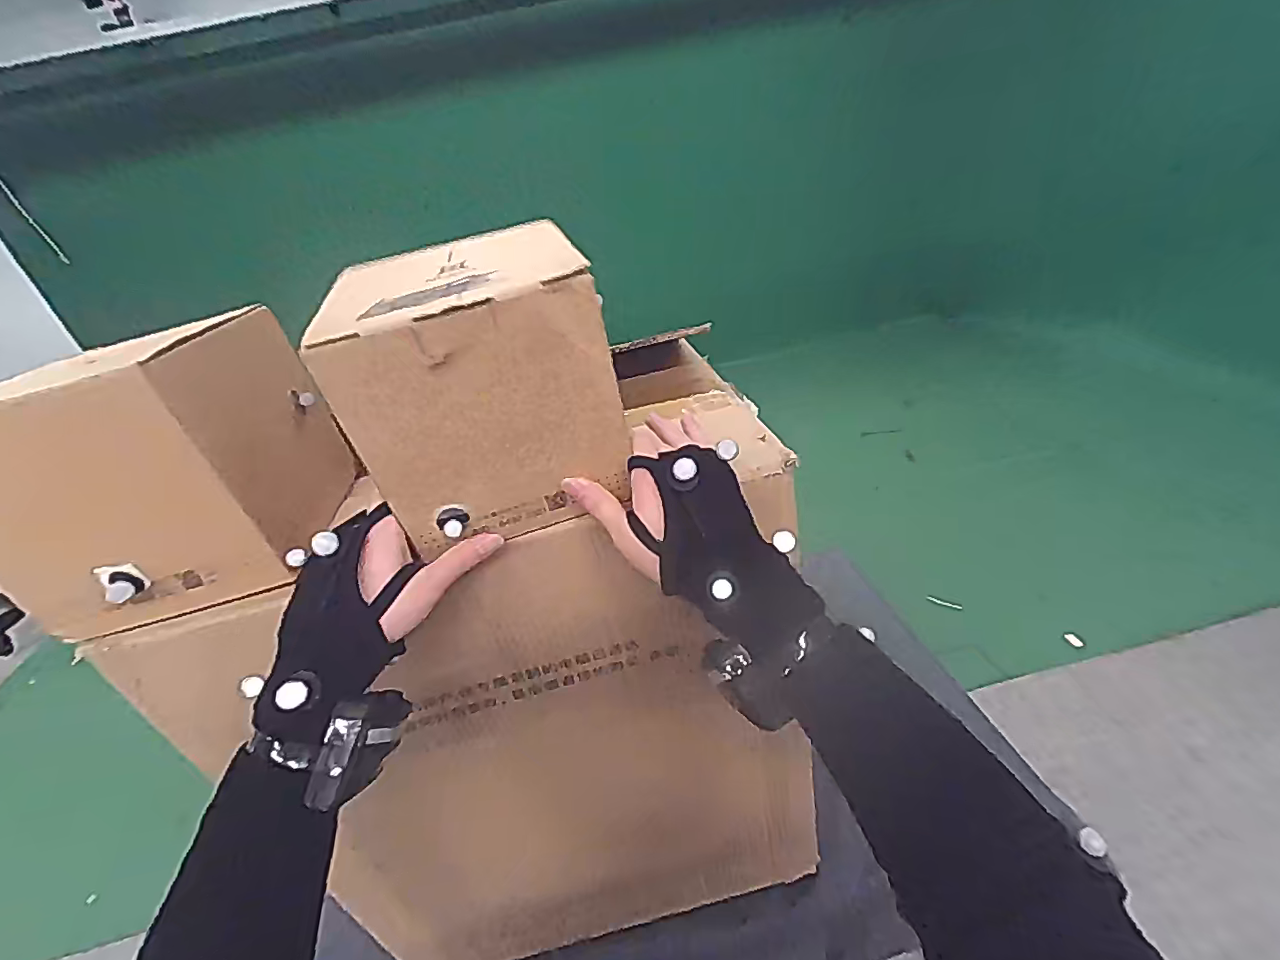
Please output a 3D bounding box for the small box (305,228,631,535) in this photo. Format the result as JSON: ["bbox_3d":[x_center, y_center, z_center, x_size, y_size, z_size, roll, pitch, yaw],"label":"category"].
[{"bbox_3d":[-0.116,-0.077,0.418,0.168,0.176,0.179,-18,33,-8],"label":"small box"}]

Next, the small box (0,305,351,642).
[{"bbox_3d":[-0.351,-0.013,0.410,0.168,0.176,0.179,-18,32,-4],"label":"small box"}]
